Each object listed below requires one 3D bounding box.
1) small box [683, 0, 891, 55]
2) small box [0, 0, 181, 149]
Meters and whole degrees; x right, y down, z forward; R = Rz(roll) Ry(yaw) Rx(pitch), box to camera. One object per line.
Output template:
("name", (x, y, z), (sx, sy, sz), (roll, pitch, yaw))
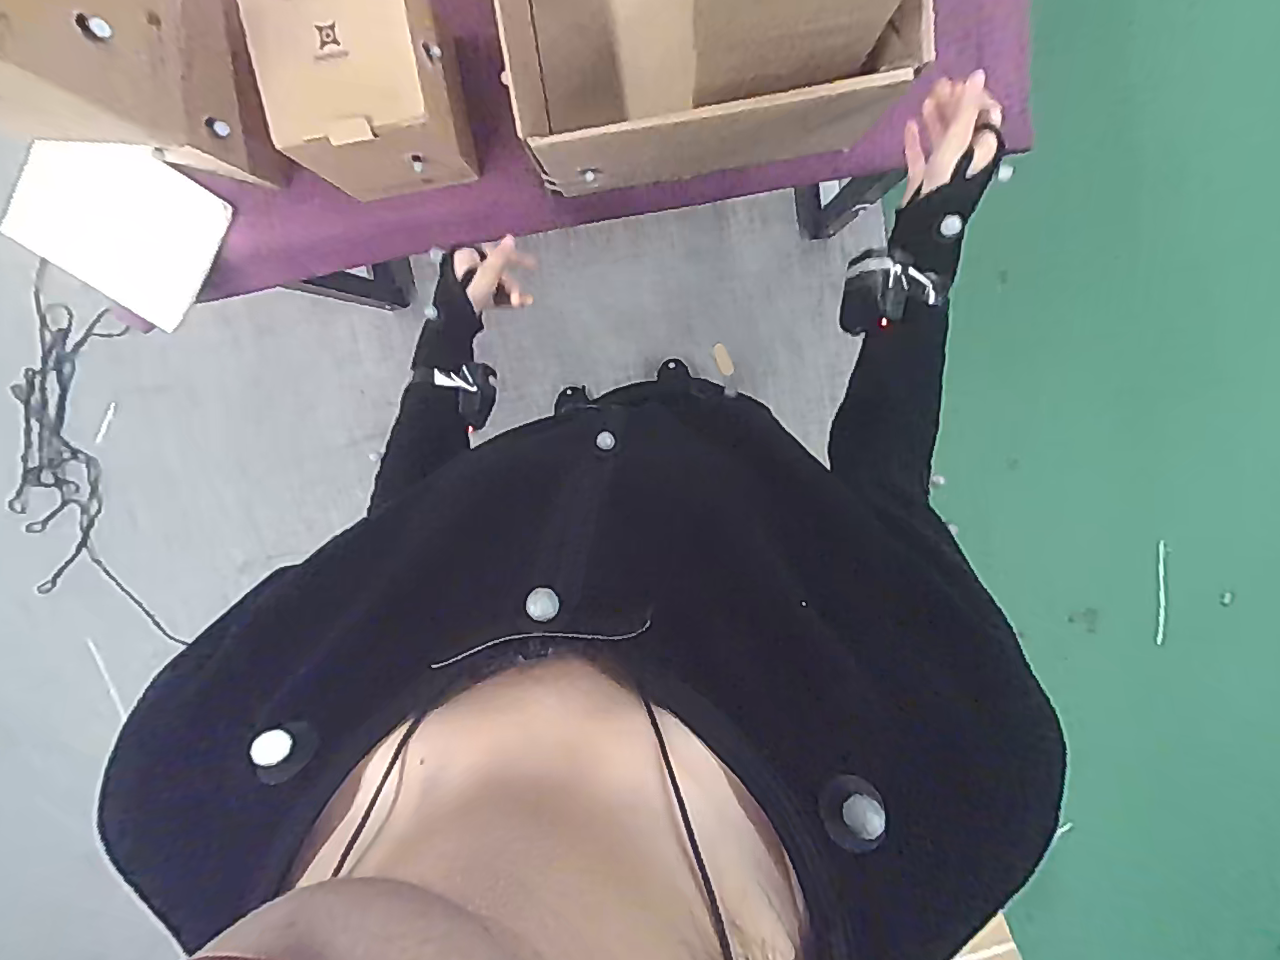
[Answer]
("small box", (0.115, -0.446, 0.380), (0.179, 0.176, 0.168), (-6, 101, 7))
("small box", (-0.546, -0.411, 0.470), (0.179, 0.176, 0.168), (5, 101, 2))
